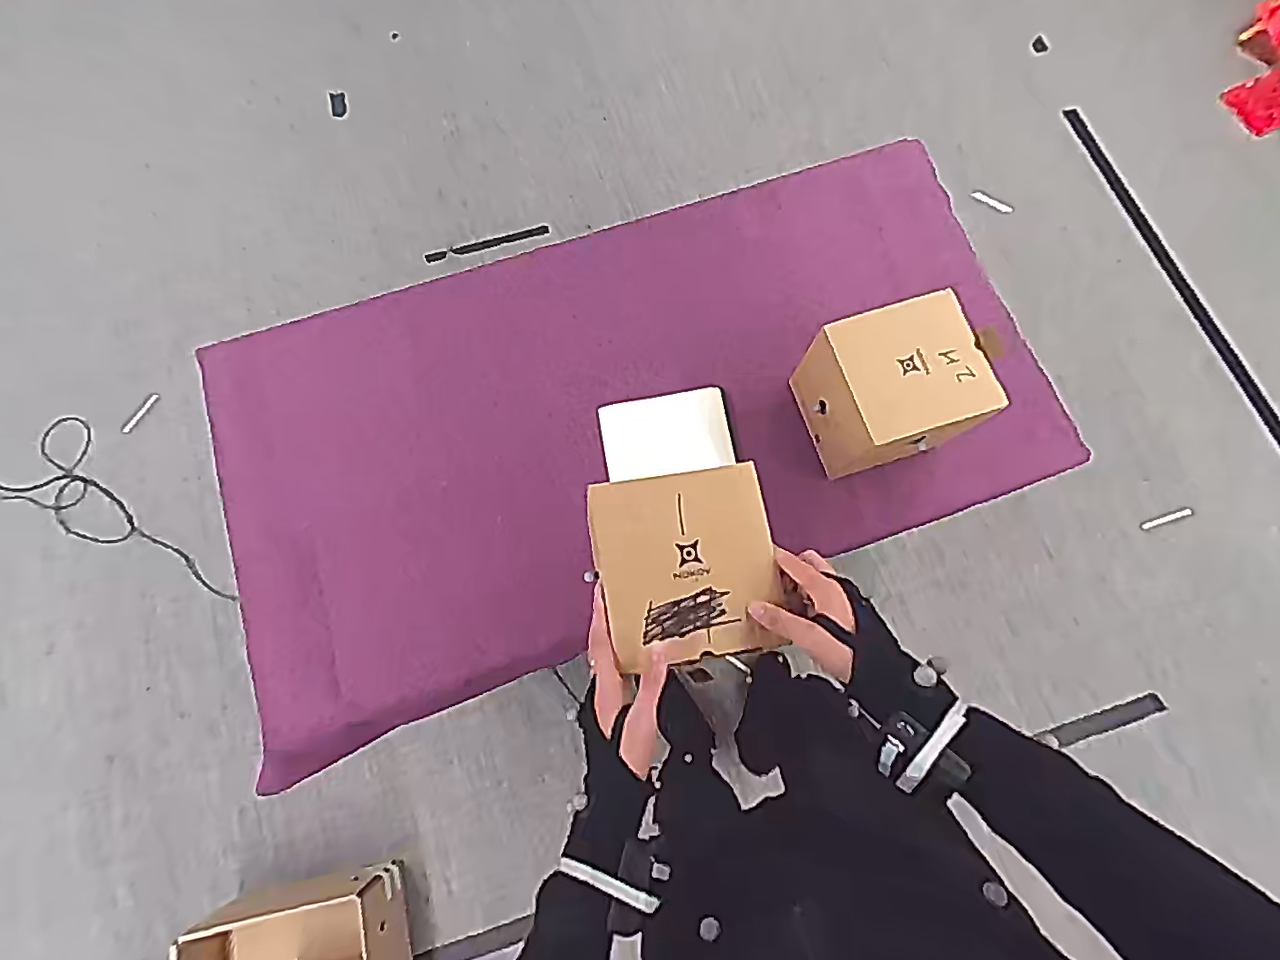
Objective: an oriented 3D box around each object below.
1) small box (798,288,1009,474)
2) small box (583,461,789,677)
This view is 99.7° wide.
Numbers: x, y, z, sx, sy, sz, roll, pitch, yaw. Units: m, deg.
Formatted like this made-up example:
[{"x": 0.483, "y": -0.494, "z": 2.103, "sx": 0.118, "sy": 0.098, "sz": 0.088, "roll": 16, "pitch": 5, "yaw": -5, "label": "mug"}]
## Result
[{"x": 0.328, "y": -0.120, "z": 0.721, "sx": 0.179, "sy": 0.176, "sz": 0.168, "roll": -17, "pitch": 77, "yaw": -4, "label": "small box"}, {"x": 0.034, "y": 0.095, "z": 0.567, "sx": 0.168, "sy": 0.176, "sz": 0.179, "roll": -8, "pitch": 76, "yaw": -8, "label": "small box"}]
